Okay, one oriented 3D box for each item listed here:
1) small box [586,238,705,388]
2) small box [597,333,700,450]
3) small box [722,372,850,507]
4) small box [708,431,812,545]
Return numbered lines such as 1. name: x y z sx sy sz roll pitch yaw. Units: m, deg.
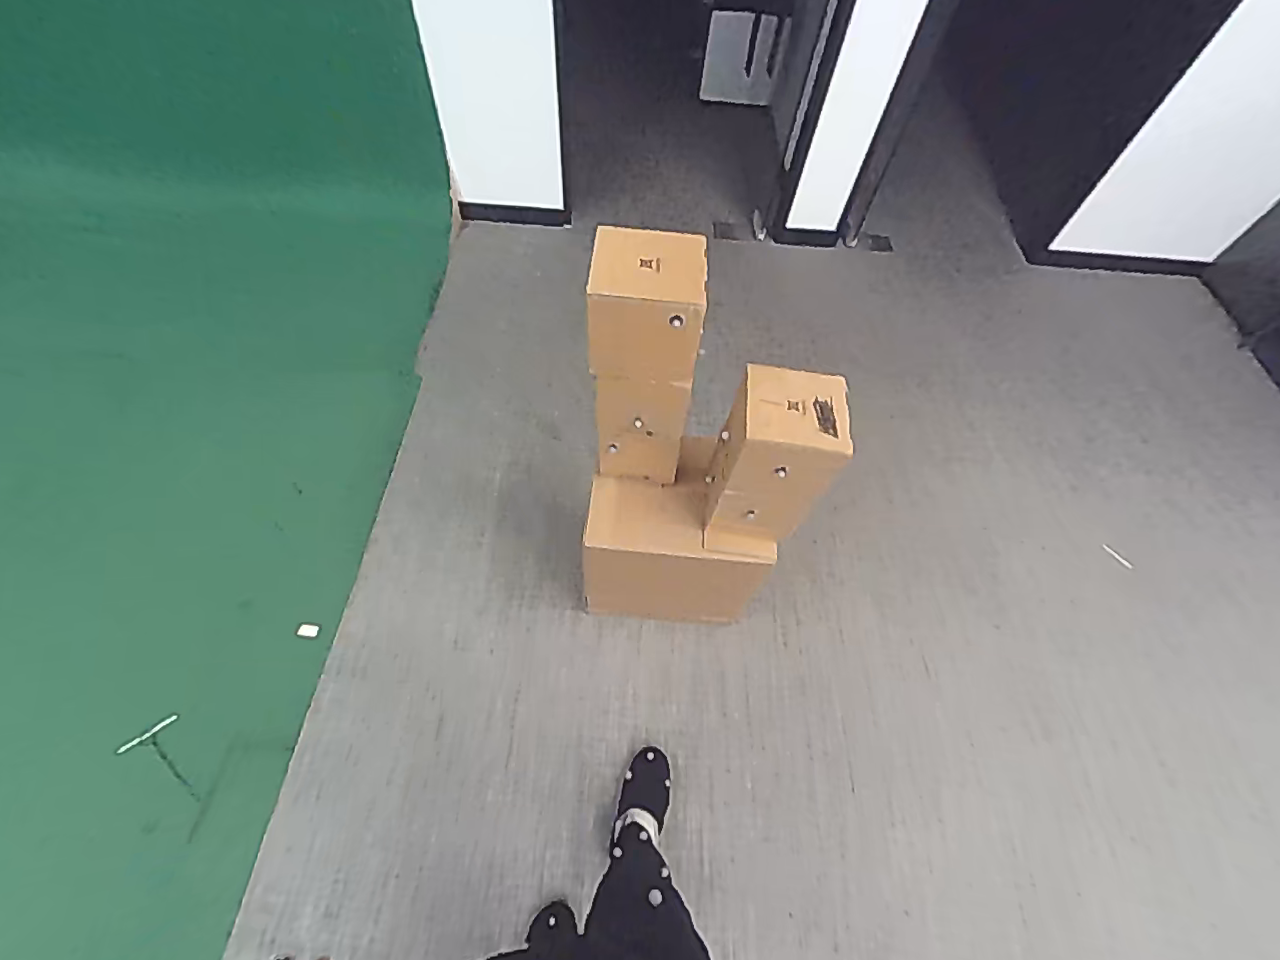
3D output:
1. small box: 0.009 -0.270 0.890 0.179 0.176 0.168 5 58 -1
2. small box: 0.014 -0.184 1.029 0.168 0.176 0.179 9 58 3
3. small box: 0.255 -0.066 0.970 0.179 0.176 0.168 8 58 1
4. small box: 0.239 0.021 1.108 0.179 0.176 0.168 7 60 1
